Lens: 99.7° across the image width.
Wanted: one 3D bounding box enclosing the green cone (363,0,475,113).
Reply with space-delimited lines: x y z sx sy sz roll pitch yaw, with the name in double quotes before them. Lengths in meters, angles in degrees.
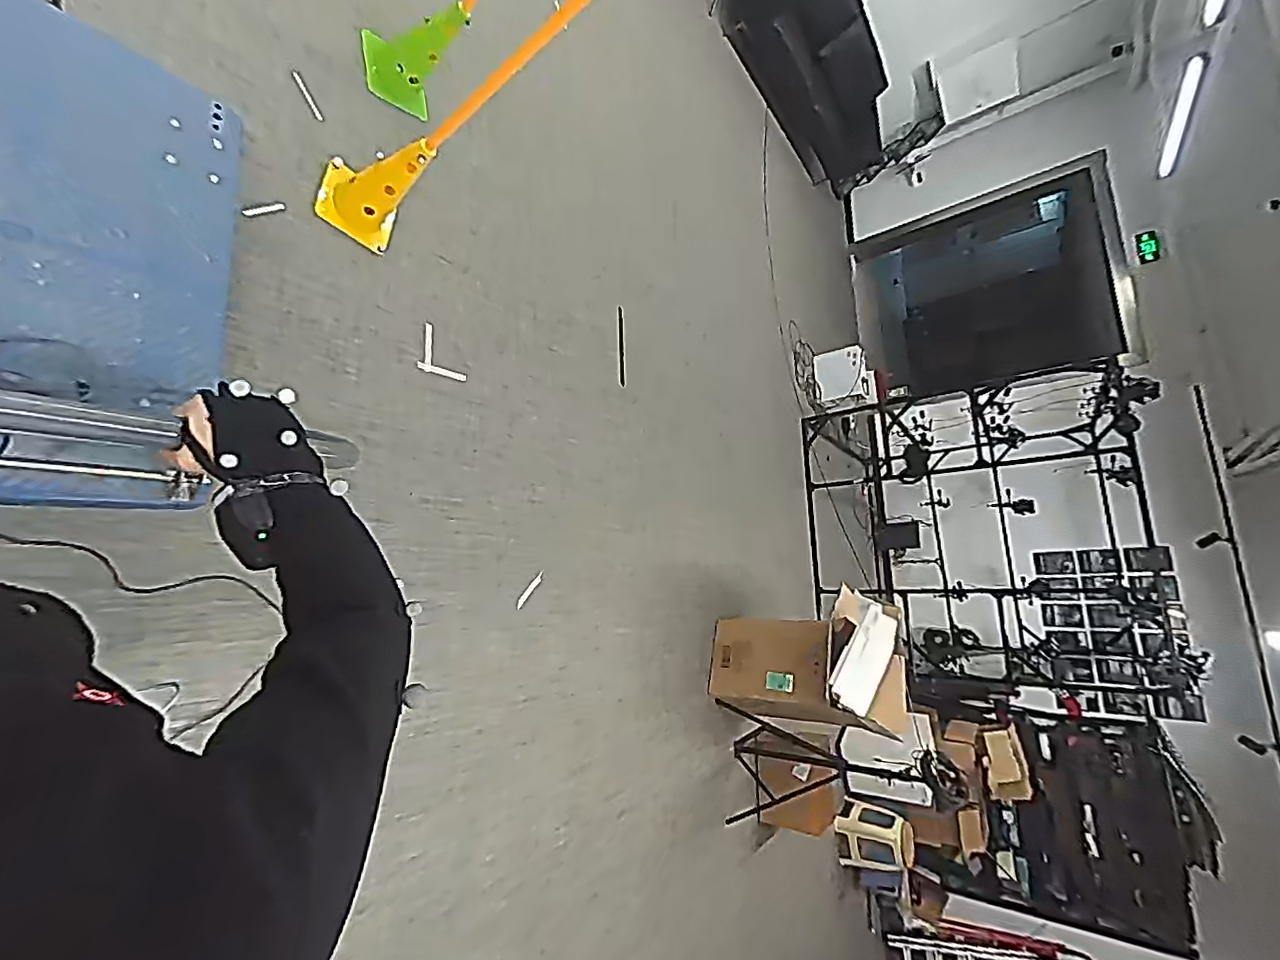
"green cone" -0.622 -1.304 1.592 0.200 0.368 0.202 -9 91 -55
